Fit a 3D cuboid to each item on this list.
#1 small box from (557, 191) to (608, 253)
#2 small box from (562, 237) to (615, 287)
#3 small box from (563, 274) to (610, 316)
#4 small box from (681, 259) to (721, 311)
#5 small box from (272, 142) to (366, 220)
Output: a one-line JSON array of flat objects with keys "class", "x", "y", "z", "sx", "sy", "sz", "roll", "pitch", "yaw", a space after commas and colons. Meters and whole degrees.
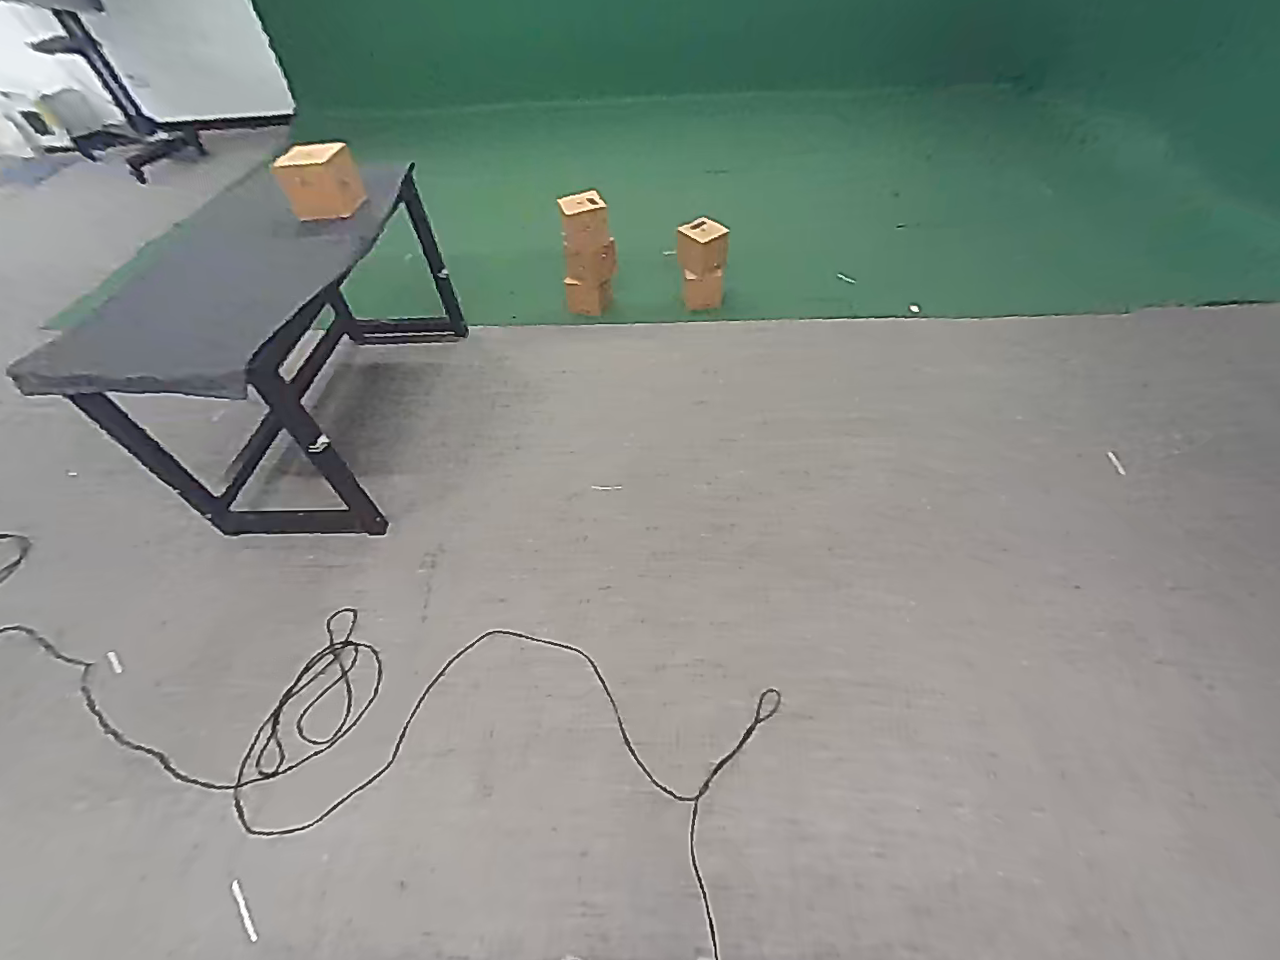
[{"class": "small box", "x": -0.244, "y": -1.113, "z": 2.336, "sx": 0.179, "sy": 0.176, "sz": 0.168, "roll": -18, "pitch": 53, "yaw": -10}, {"class": "small box", "x": -0.227, "y": -1.008, "z": 2.463, "sx": 0.168, "sy": 0.176, "sz": 0.179, "roll": 32, "pitch": 59, "yaw": 25}, {"class": "small box", "x": -0.250, "y": -0.910, "z": 2.593, "sx": 0.168, "sy": 0.176, "sz": 0.179, "roll": 14, "pitch": 52, "yaw": 14}, {"class": "small box", "x": 0.286, "y": -0.929, "z": 2.572, "sx": 0.168, "sy": 0.176, "sz": 0.179, "roll": -6, "pitch": 49, "yaw": -2}, {"class": "small box", "x": -1.023, "y": -0.961, "z": 1.742, "sx": 0.179, "sy": 0.176, "sz": 0.168, "roll": -1, "pitch": 50, "yaw": 5}]
